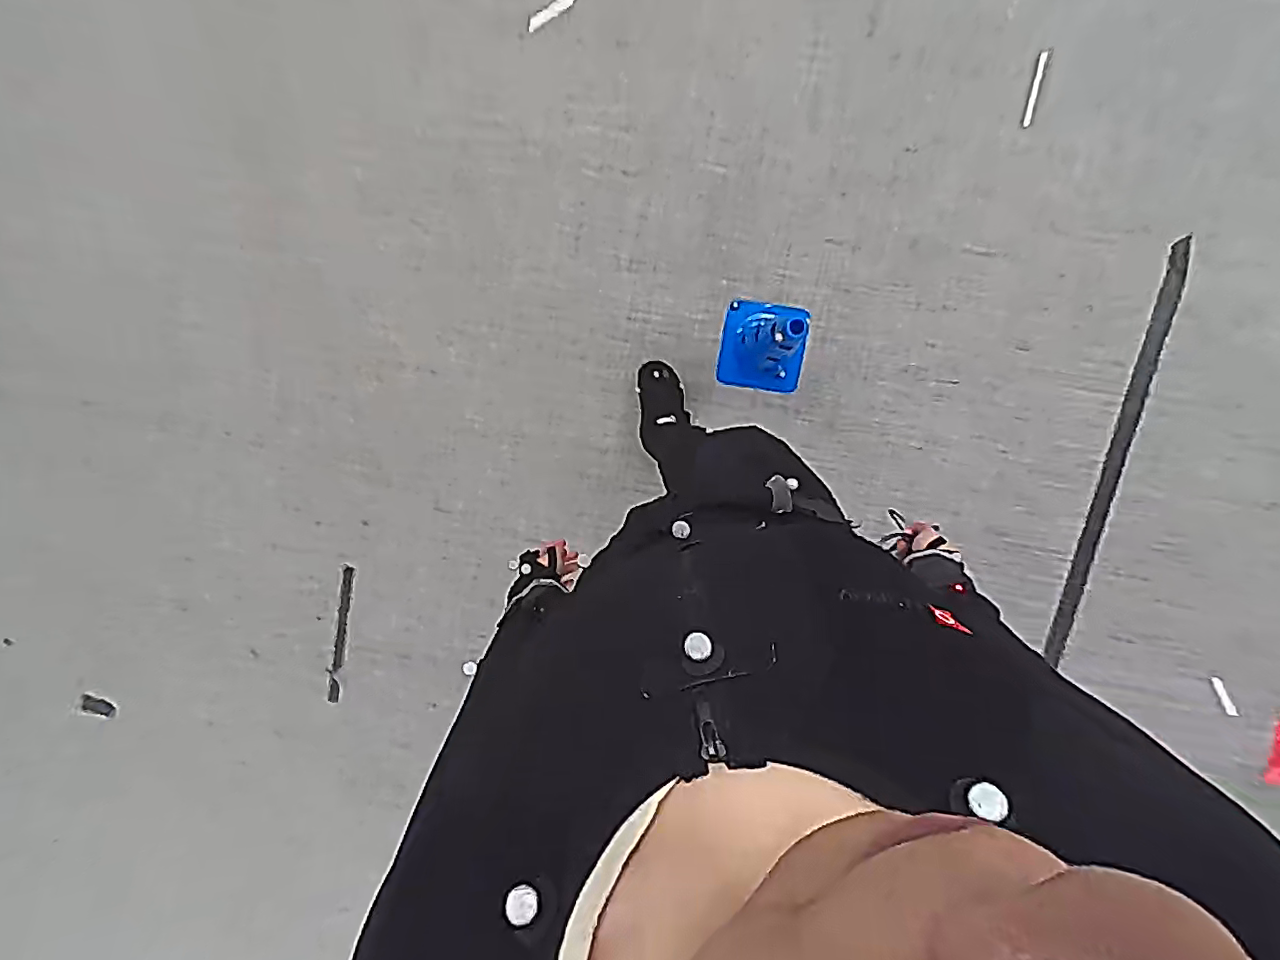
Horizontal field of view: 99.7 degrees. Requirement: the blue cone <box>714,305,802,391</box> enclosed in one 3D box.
[{"bbox_3d":[0.270,-0.291,1.129,0.192,0.380,0.193,10,98,3],"label":"blue cone"}]
